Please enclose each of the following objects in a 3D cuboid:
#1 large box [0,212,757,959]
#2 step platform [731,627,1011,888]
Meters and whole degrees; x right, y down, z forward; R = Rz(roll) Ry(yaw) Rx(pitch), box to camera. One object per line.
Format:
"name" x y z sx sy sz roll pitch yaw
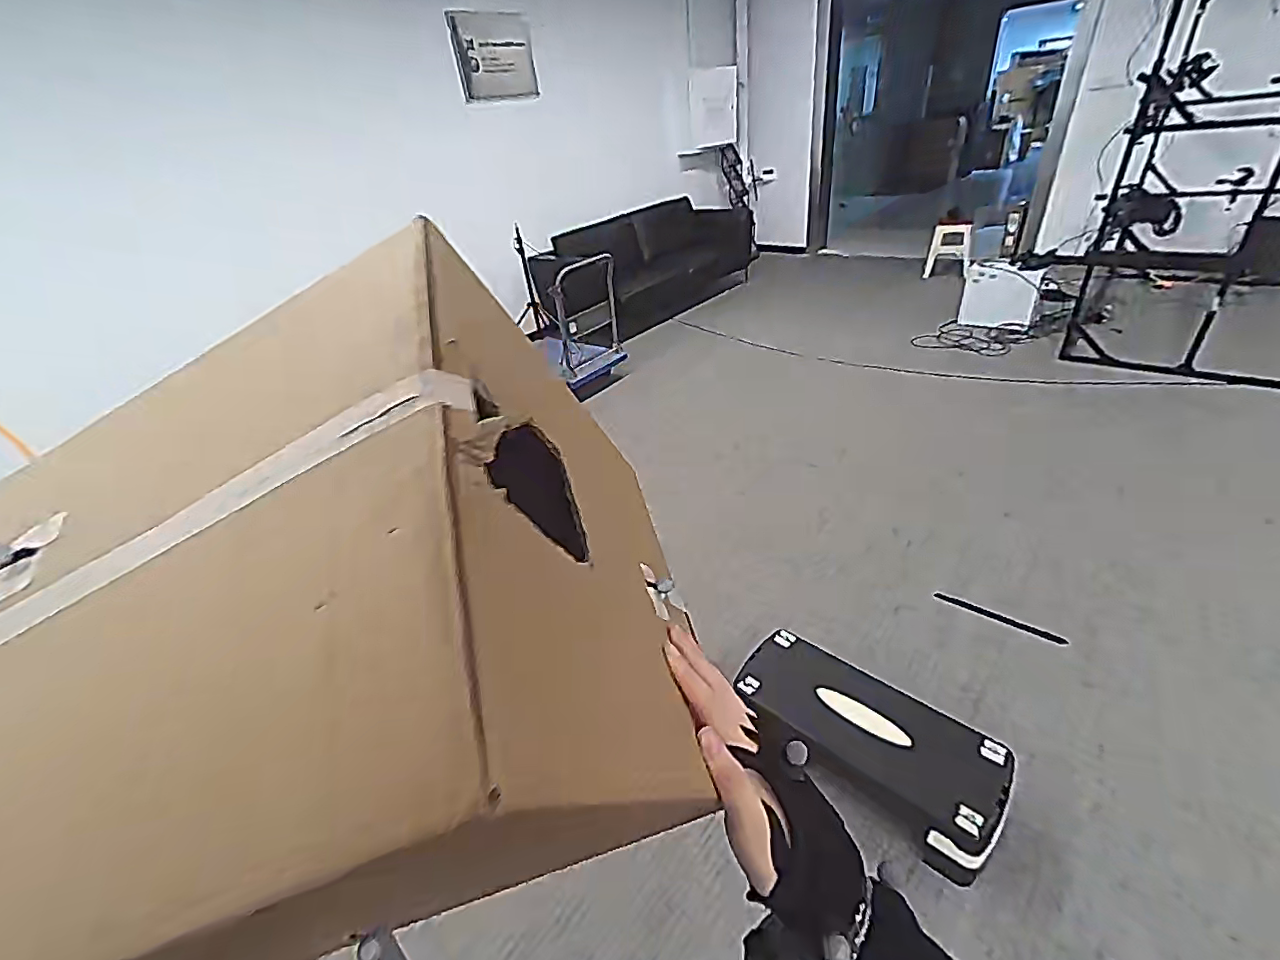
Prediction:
"large box" -0.187 0.117 0.378 0.408 0.320 0.320 -27 54 10
"step platform" 0.577 0.683 1.449 0.286 0.204 0.684 -31 38 -31
